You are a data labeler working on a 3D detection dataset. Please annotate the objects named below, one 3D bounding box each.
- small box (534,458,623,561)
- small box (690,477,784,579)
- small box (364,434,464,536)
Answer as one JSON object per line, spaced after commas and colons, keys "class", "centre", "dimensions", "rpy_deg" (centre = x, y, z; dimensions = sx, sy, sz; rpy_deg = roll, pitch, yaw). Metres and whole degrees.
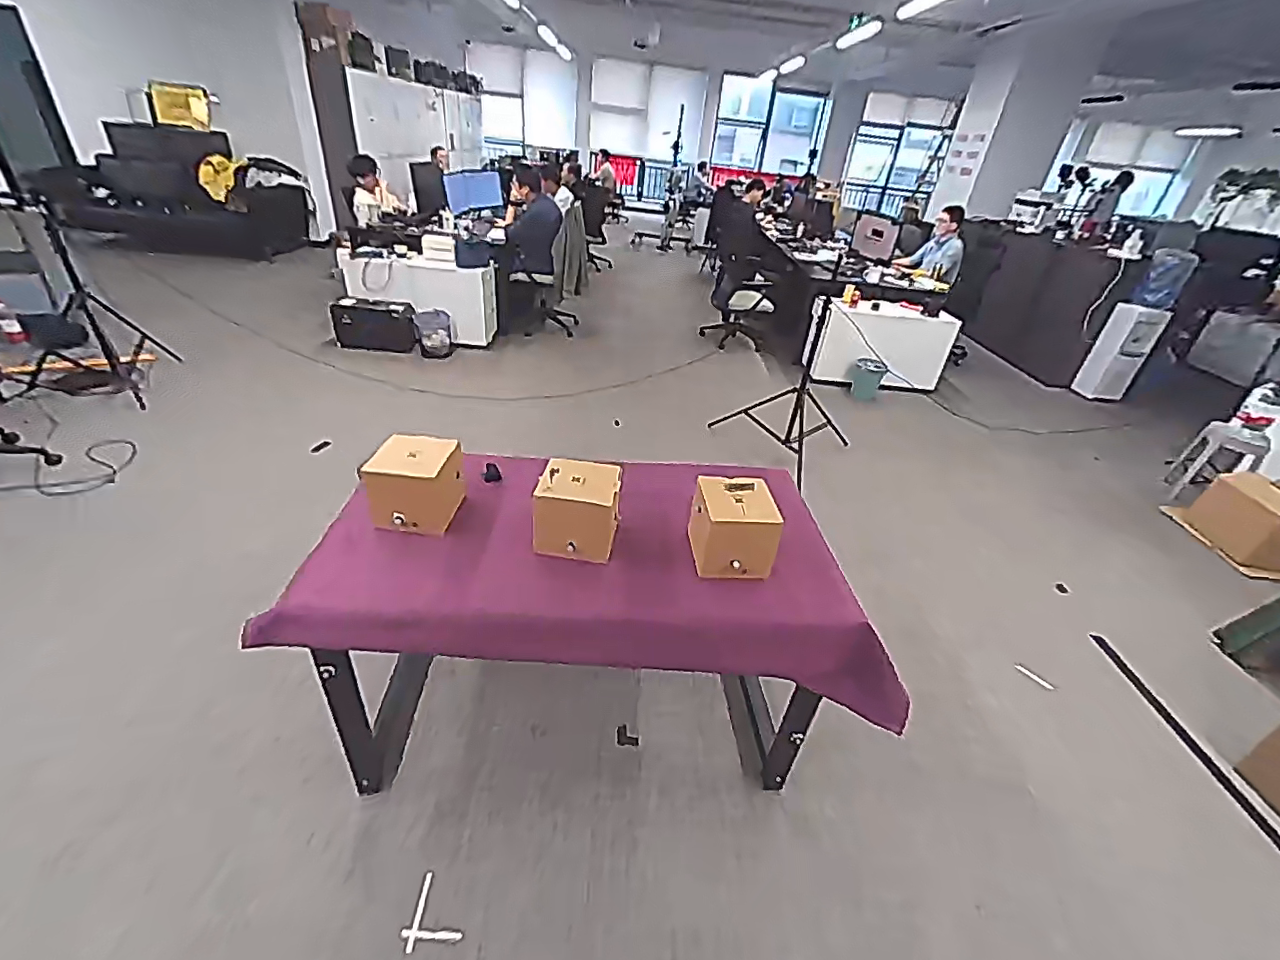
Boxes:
{"class": "small box", "centre": [-0.144, 0.072, 1.273], "dimensions": [0.179, 0.176, 0.168], "rpy_deg": [8, 32, 2]}
{"class": "small box", "centre": [0.218, 0.111, 1.275], "dimensions": [0.168, 0.176, 0.179], "rpy_deg": [2, 33, -7]}
{"class": "small box", "centre": [-0.531, 0.011, 1.297], "dimensions": [0.168, 0.176, 0.179], "rpy_deg": [5, 33, -1]}
